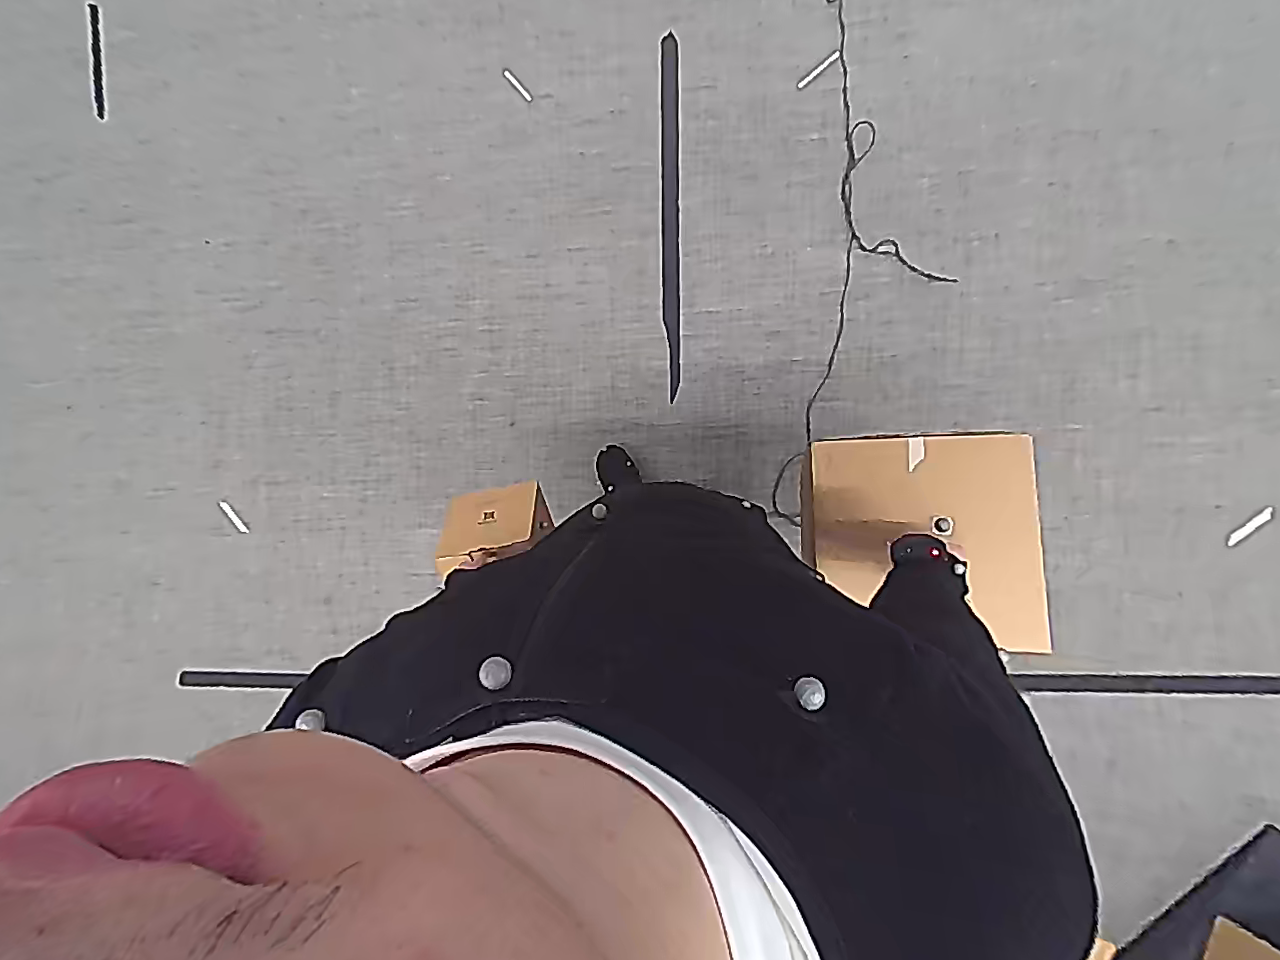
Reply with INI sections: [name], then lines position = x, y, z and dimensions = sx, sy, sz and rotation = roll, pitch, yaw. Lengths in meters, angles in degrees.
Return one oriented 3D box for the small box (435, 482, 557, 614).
[small box]
position = -0.257, 0.131, 1.012
dimensions = 0.168, 0.179, 0.176
rotation = -11, 125, 1
